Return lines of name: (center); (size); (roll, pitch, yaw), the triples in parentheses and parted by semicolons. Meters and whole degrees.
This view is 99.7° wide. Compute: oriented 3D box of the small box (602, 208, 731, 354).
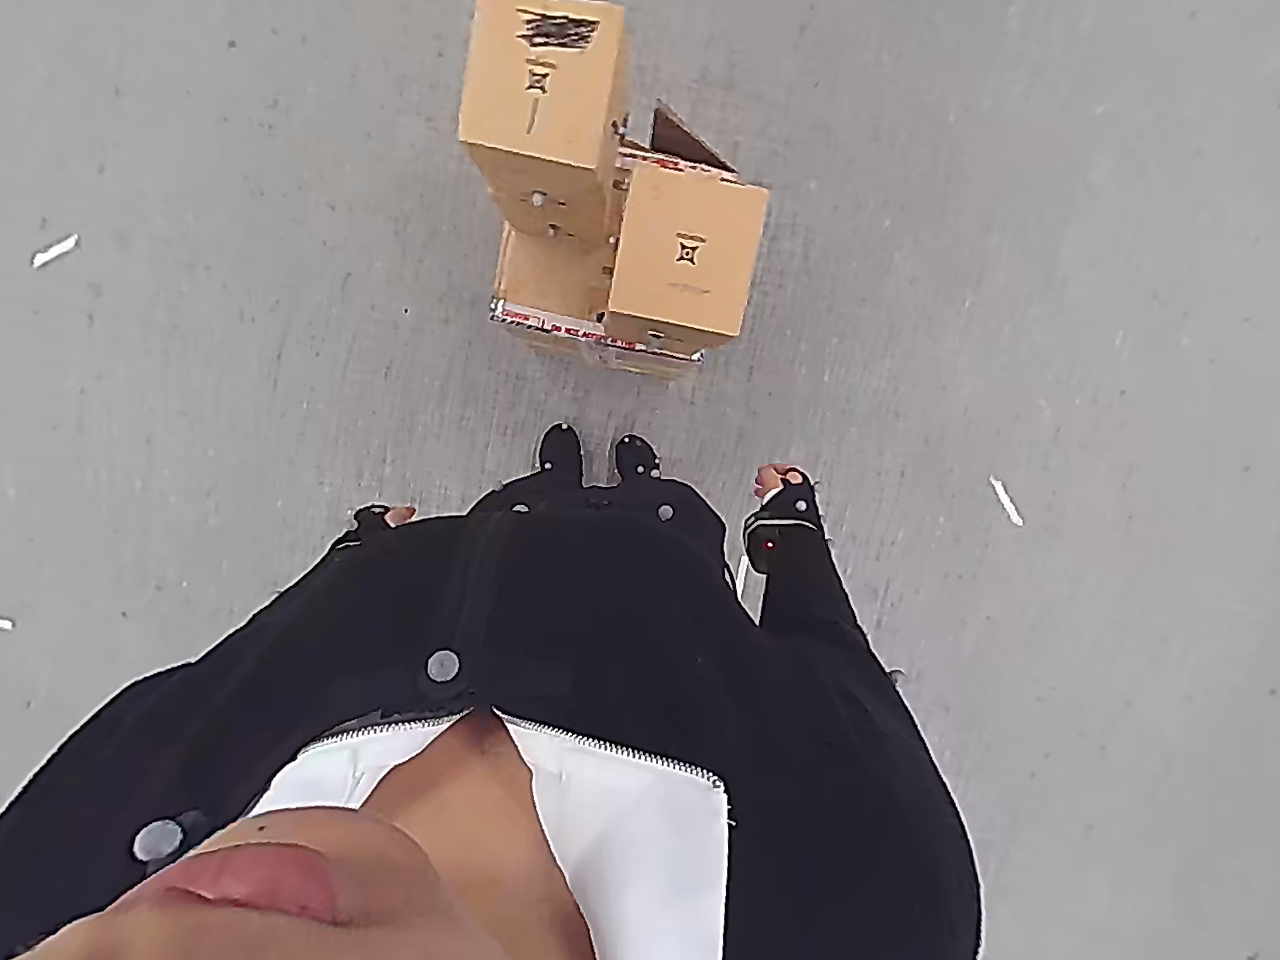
small box: (0.036, -0.310, 0.881); (0.168, 0.176, 0.179); (10, 98, -4)

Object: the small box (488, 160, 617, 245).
small box: (-0.128, -0.494, 0.851); (0.168, 0.176, 0.179); (8, 98, -1)

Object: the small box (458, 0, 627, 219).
small box: (-0.113, -0.464, 0.689); (0.168, 0.176, 0.179); (12, 99, -2)
